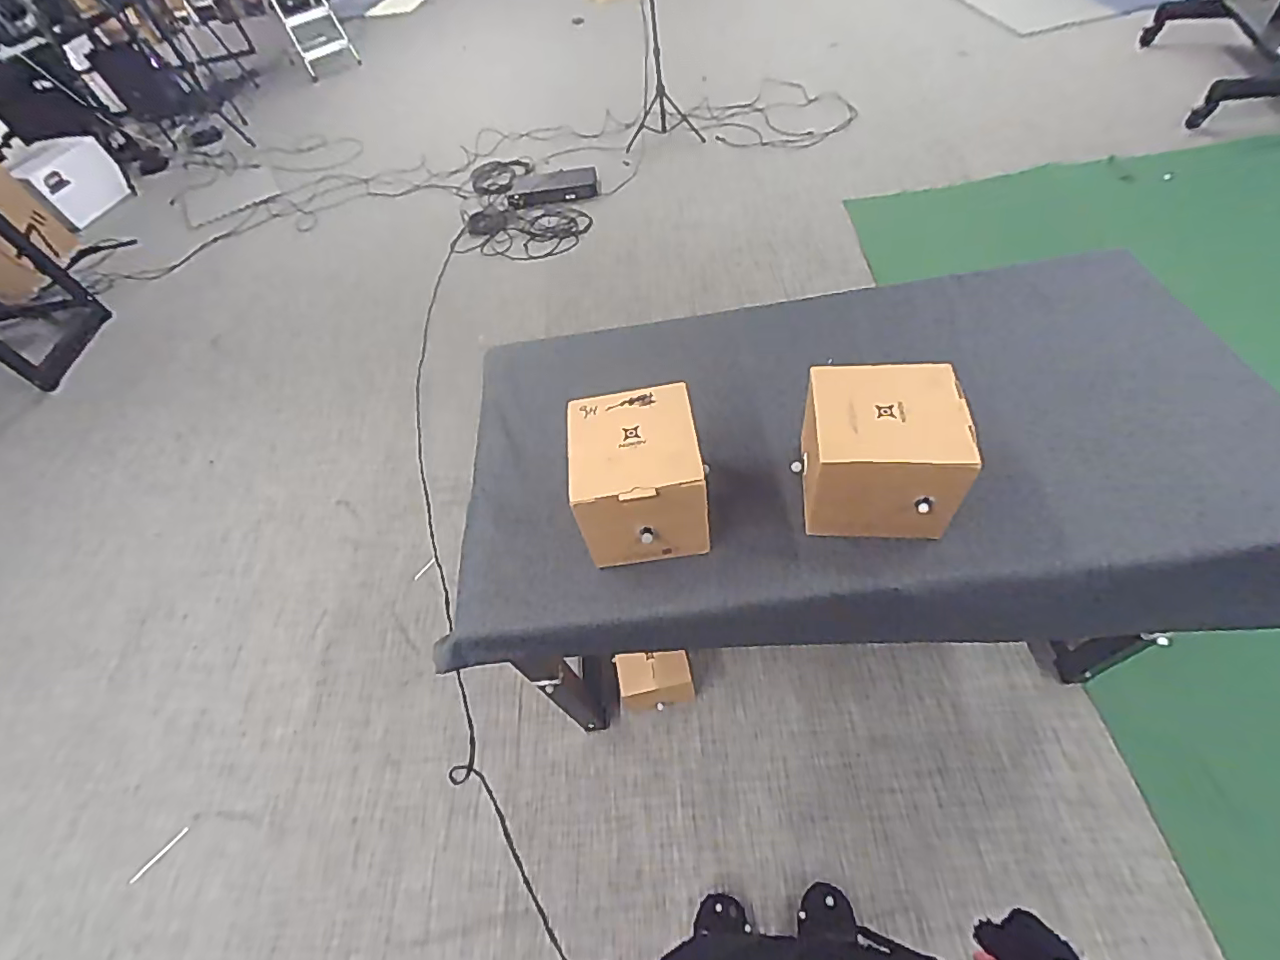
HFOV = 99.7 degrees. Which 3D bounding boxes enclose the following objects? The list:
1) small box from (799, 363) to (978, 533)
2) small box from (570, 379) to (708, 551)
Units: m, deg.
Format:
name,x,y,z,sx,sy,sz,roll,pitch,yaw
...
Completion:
name,x,y,z,sx,sy,sz,roll,pitch,yaw
small box,0.315,-0.039,0.729,0.179,0.176,0.168,1,54,11
small box,0.001,-0.012,0.758,0.168,0.176,0.179,-8,54,3
